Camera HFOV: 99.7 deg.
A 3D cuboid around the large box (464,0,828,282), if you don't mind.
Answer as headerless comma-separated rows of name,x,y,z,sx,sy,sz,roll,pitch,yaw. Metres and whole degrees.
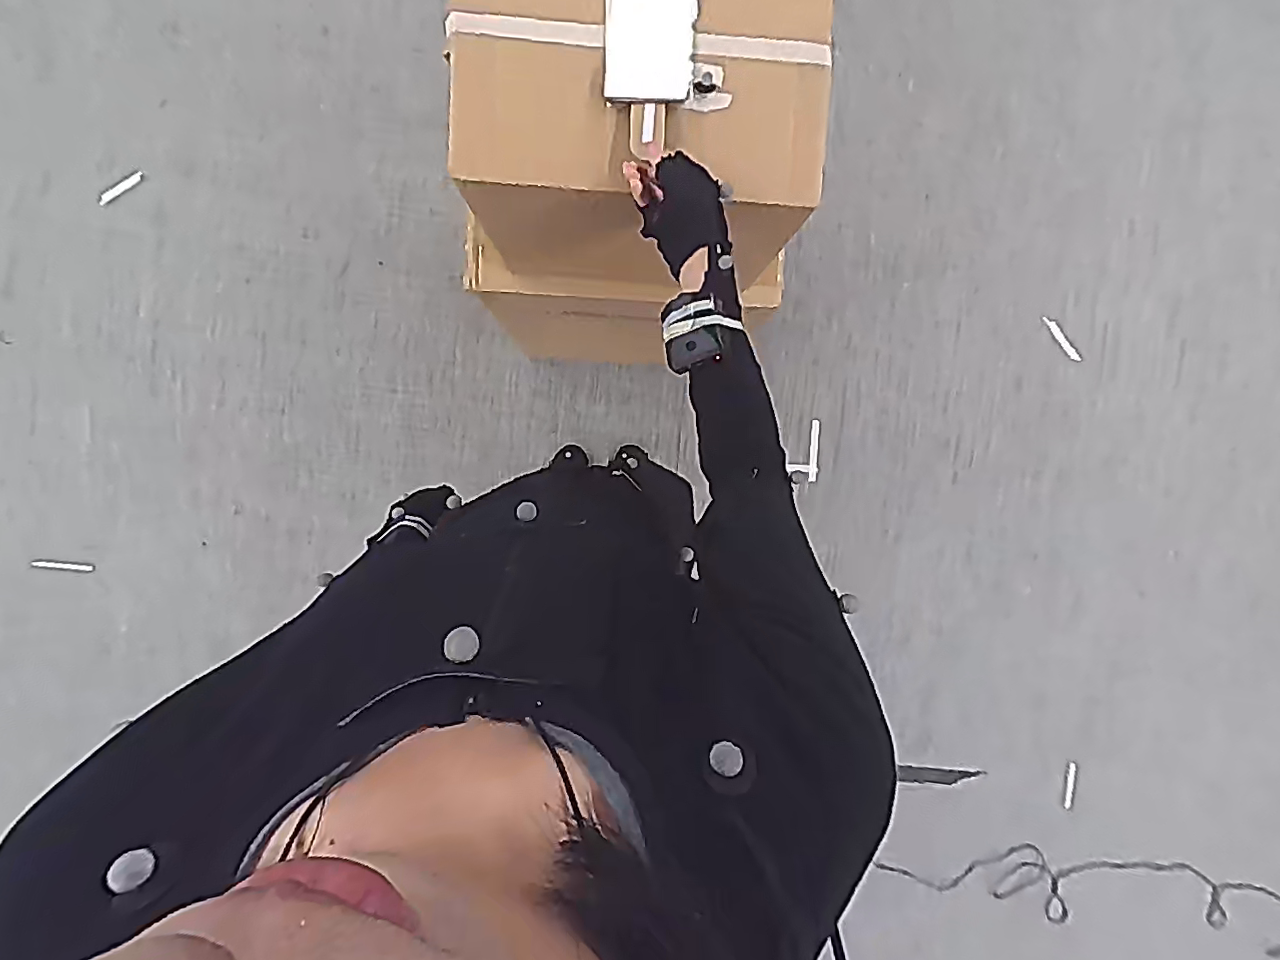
large box,-0.001,-0.482,0.742,0.408,0.320,0.320,3,93,-4
